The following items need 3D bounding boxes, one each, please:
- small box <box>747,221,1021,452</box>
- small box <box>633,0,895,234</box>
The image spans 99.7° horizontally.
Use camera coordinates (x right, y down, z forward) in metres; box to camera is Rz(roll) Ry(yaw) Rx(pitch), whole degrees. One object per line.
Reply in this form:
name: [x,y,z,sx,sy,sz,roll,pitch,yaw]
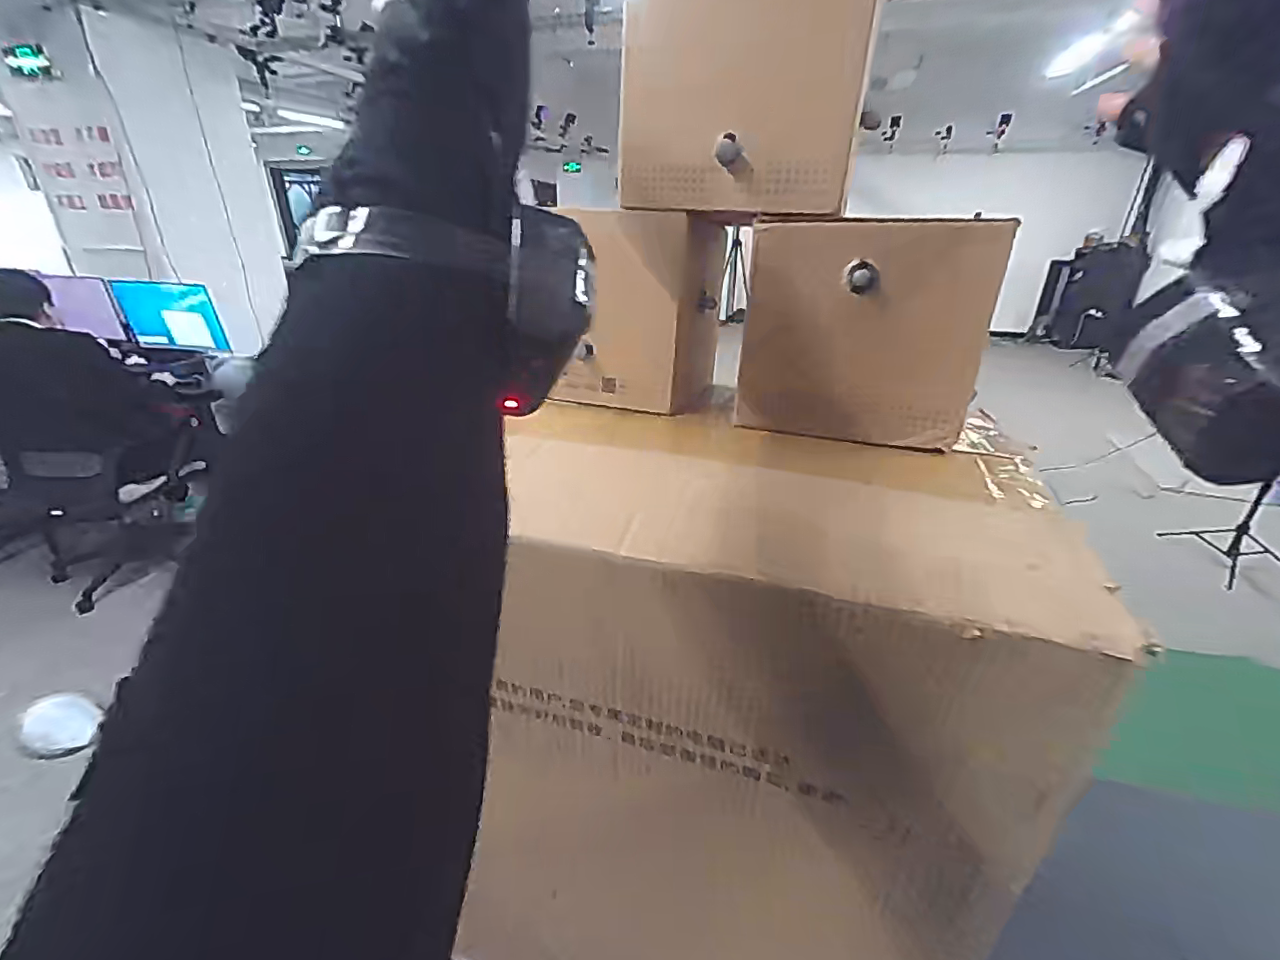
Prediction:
small box: [0.199,-0.132,0.487,0.179,0.176,0.168,10,24,16]
small box: [0.104,-0.305,0.461,0.179,0.176,0.168,11,22,17]
